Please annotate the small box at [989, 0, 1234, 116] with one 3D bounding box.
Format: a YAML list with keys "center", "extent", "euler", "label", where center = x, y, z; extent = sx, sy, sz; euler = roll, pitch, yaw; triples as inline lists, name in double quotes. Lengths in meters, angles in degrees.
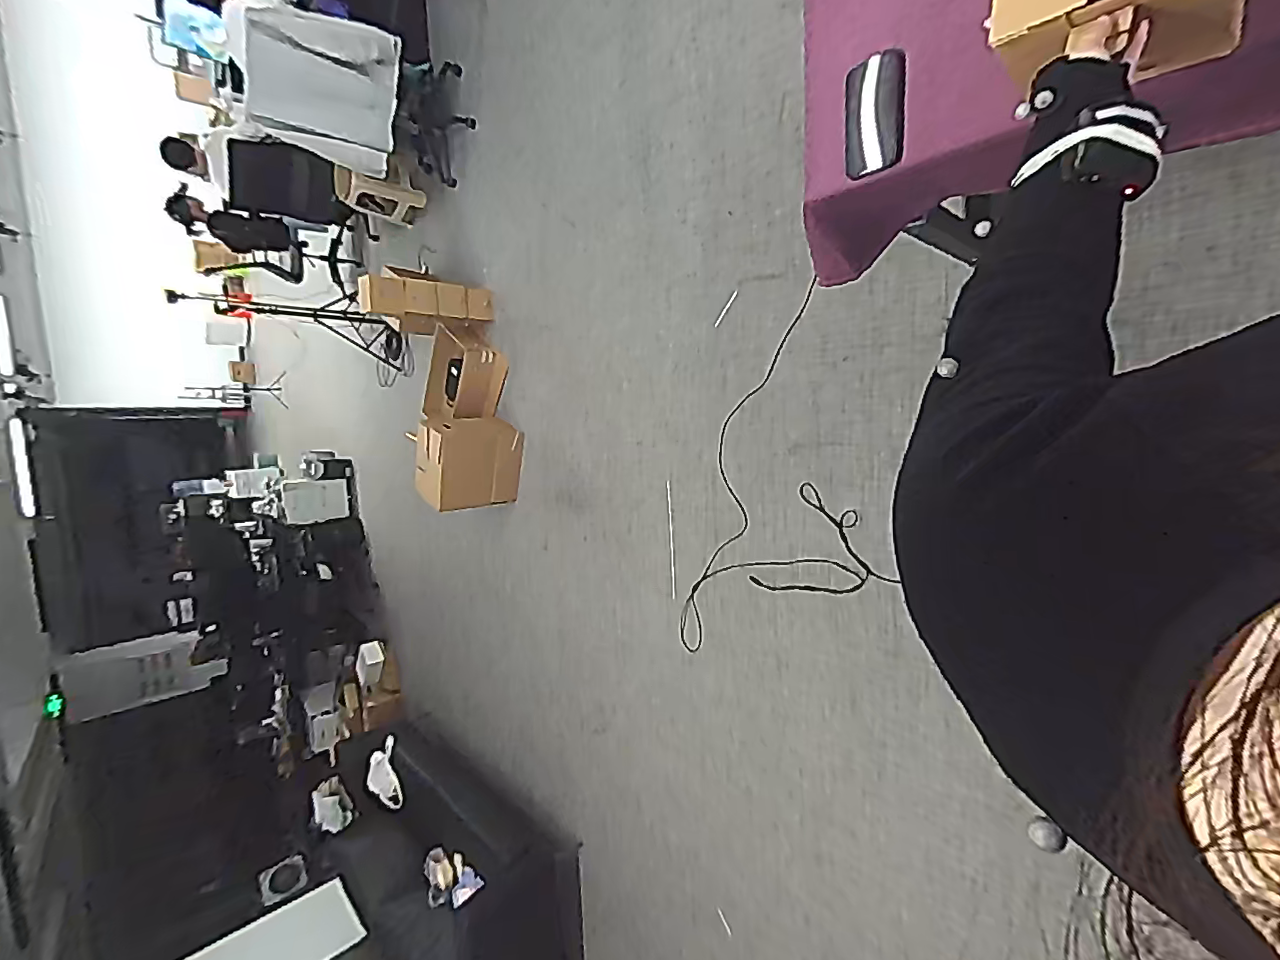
- center: [0.459, -0.498, 0.518]
  extent: [0.168, 0.176, 0.179]
  euler: [10, 100, 45]
  label: "small box"
